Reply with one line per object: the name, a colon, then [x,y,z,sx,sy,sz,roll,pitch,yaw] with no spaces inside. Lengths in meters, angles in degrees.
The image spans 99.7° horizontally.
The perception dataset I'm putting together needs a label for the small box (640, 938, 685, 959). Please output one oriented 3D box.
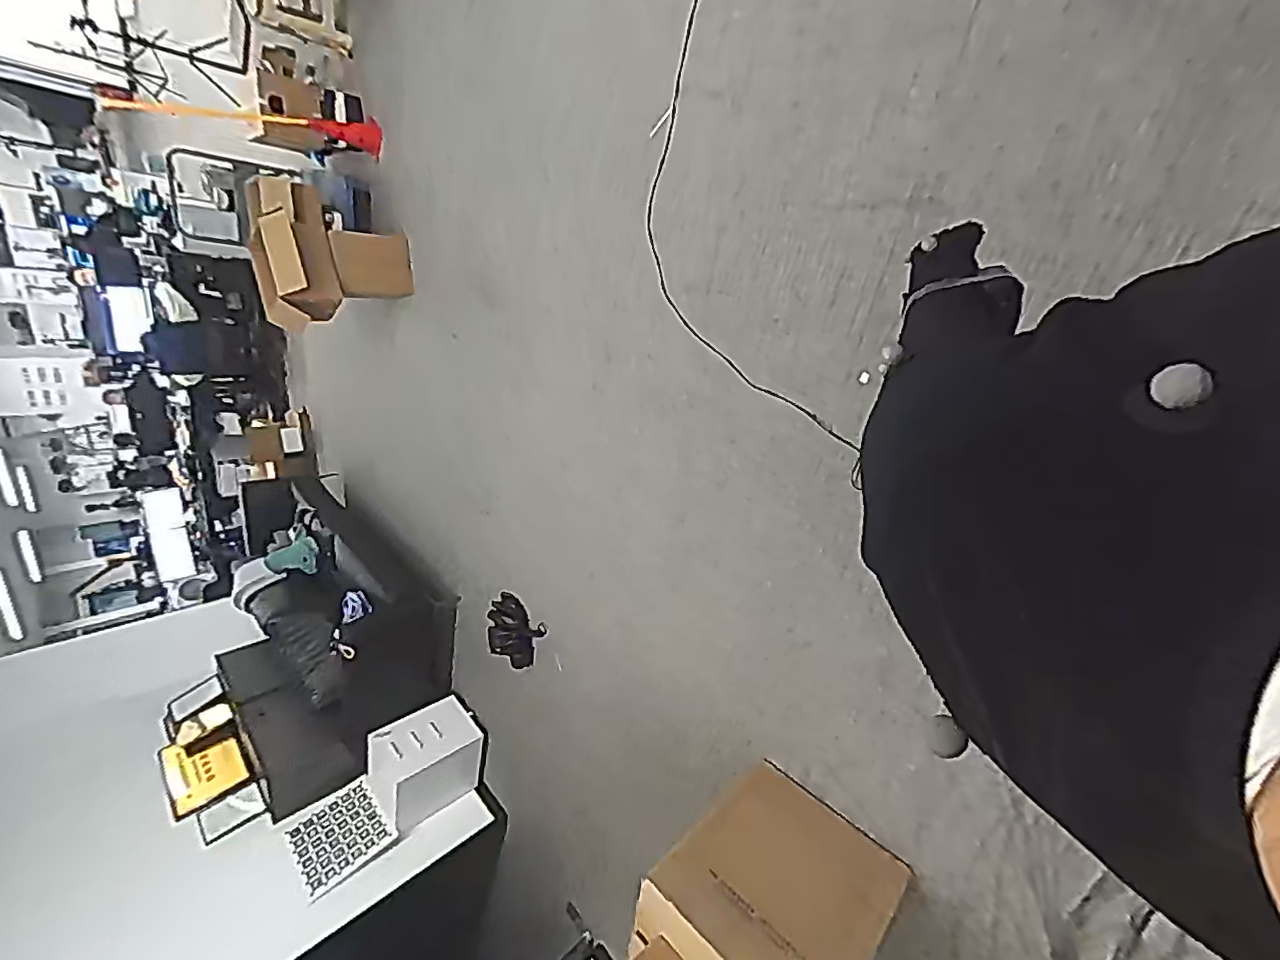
small box: [0.055,1.348,1.387,0.179,0.176,0.168,21,104,41]
